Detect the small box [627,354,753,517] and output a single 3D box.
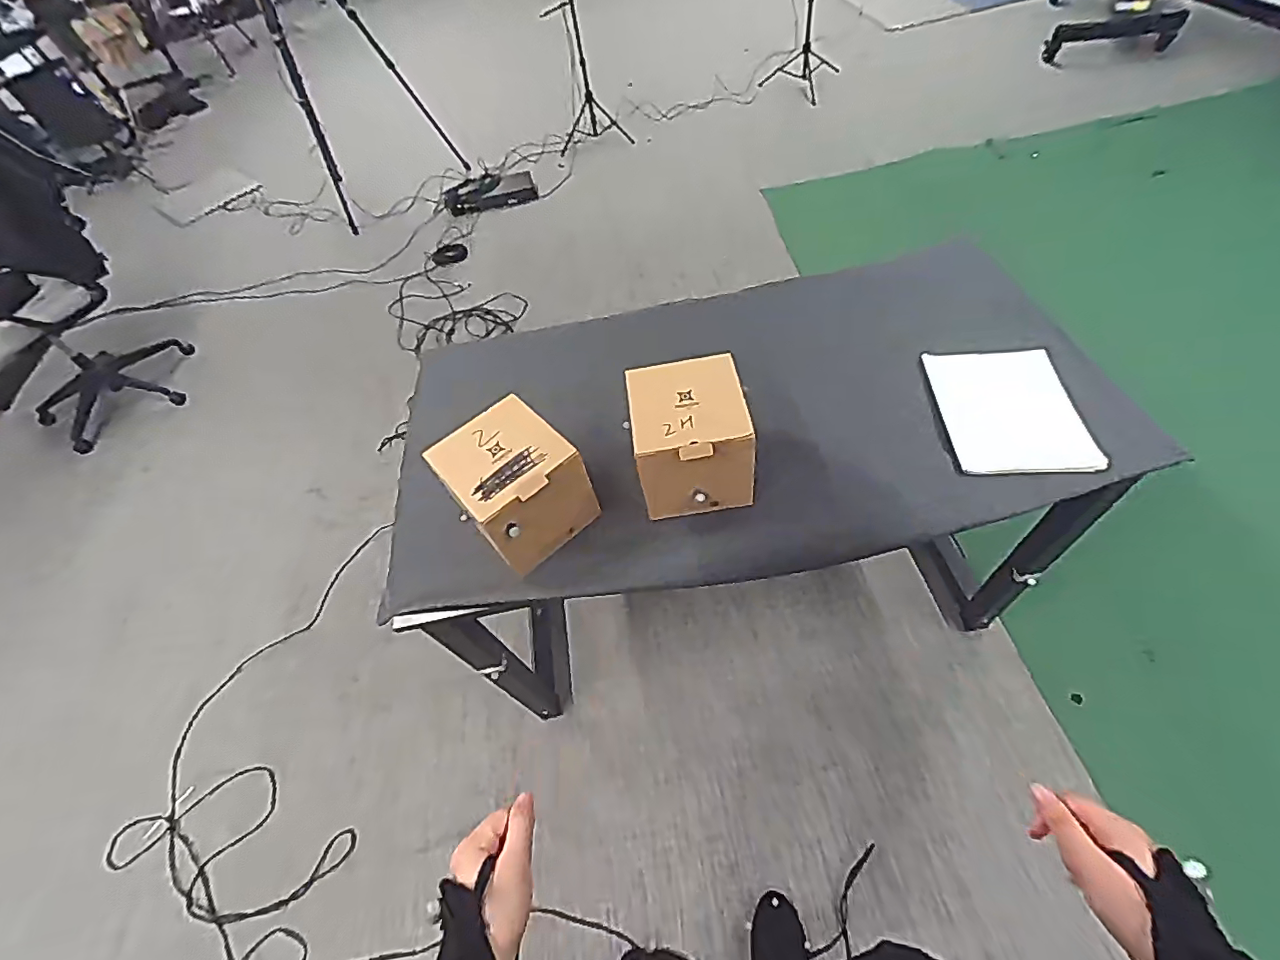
[{"bbox_3d":[0.077,-0.066,0.846,0.168,0.176,0.179,-10,53,4],"label":"small box"}]
